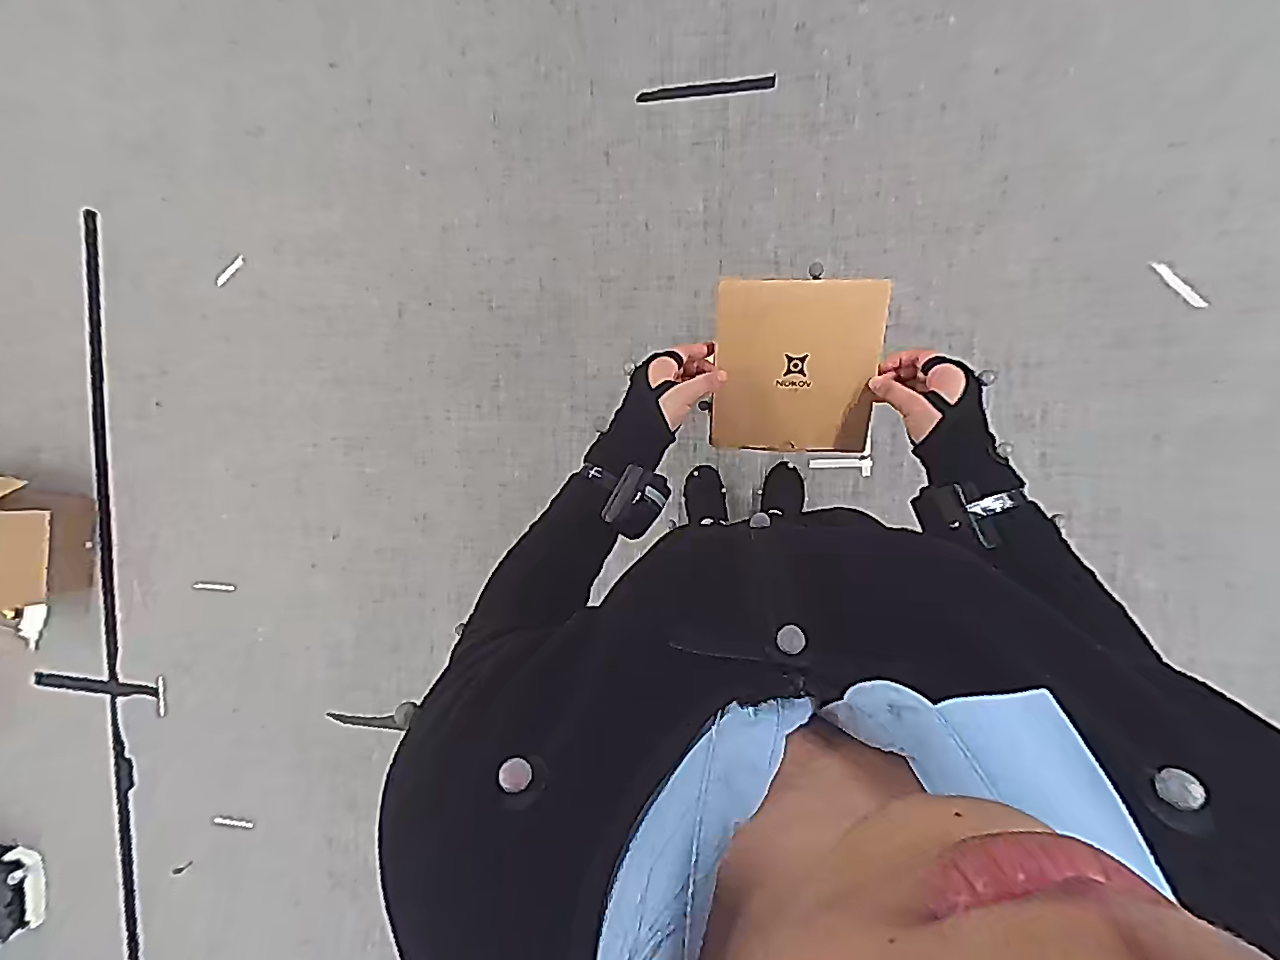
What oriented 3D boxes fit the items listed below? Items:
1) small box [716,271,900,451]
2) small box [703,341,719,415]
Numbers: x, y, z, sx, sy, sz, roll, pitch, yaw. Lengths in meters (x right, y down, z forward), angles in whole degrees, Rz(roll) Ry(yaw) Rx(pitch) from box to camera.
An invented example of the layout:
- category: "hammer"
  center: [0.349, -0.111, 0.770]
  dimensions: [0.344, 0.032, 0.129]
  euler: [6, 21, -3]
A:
- category: "small box"
  center: [0.174, -0.145, 0.619]
  dimensions: [0.168, 0.176, 0.179]
  euler: [3, 113, 7]
- category: "small box"
  center: [0.256, -0.262, 1.382]
  dimensions: [0.168, 0.176, 0.179]
  euler: [-11, 92, 10]
